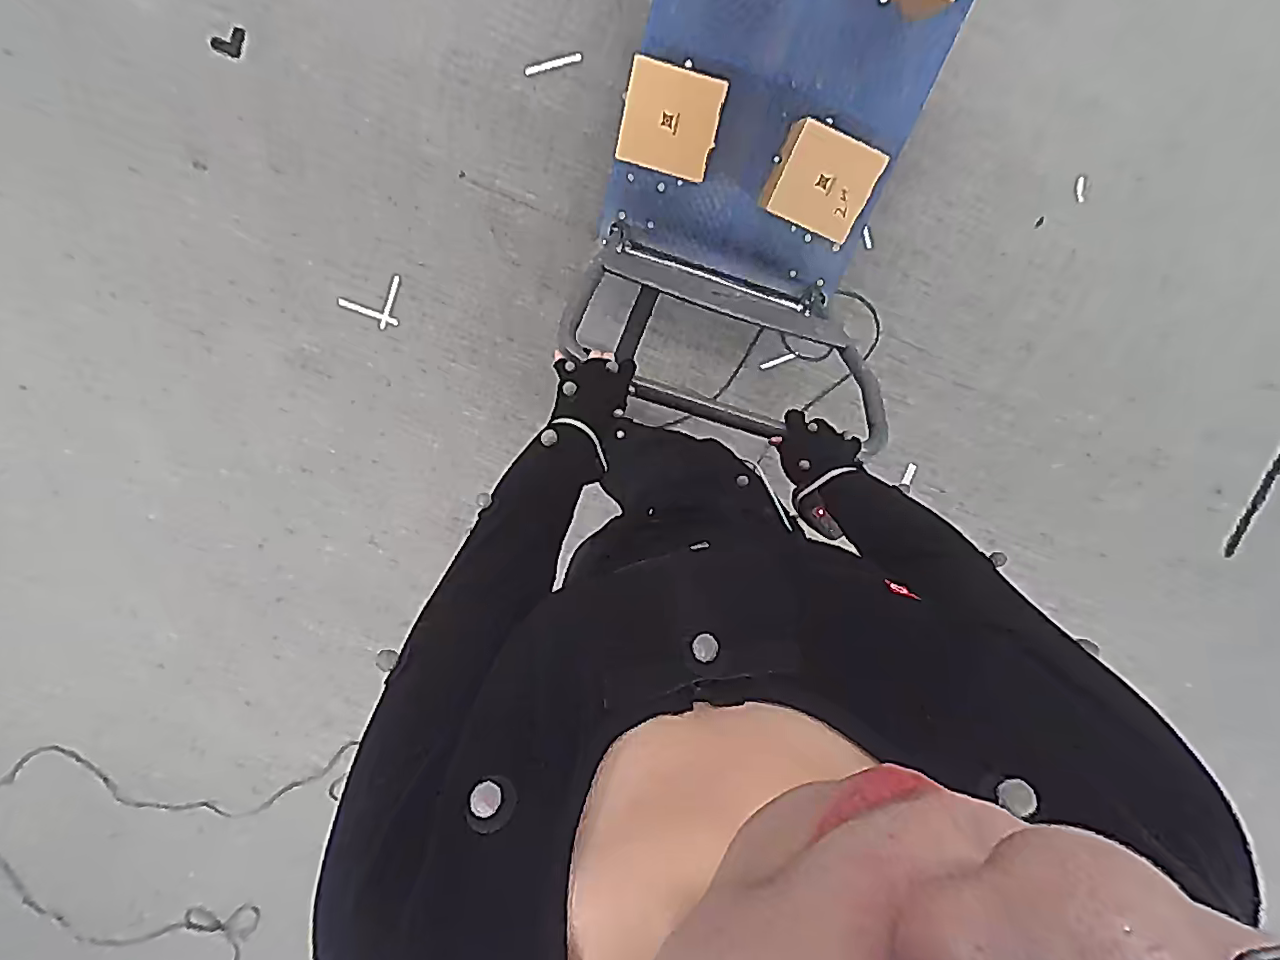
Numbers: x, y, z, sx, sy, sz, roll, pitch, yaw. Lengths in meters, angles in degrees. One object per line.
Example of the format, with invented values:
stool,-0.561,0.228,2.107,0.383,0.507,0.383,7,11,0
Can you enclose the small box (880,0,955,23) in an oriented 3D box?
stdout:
small box,0.488,-0.921,0.903,0.168,0.176,0.179,26,120,-11

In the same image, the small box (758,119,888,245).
small box,0.358,-0.602,1.099,0.179,0.176,0.168,21,120,-8

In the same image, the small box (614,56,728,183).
small box,0.058,-0.699,1.066,0.179,0.176,0.168,13,120,-5
